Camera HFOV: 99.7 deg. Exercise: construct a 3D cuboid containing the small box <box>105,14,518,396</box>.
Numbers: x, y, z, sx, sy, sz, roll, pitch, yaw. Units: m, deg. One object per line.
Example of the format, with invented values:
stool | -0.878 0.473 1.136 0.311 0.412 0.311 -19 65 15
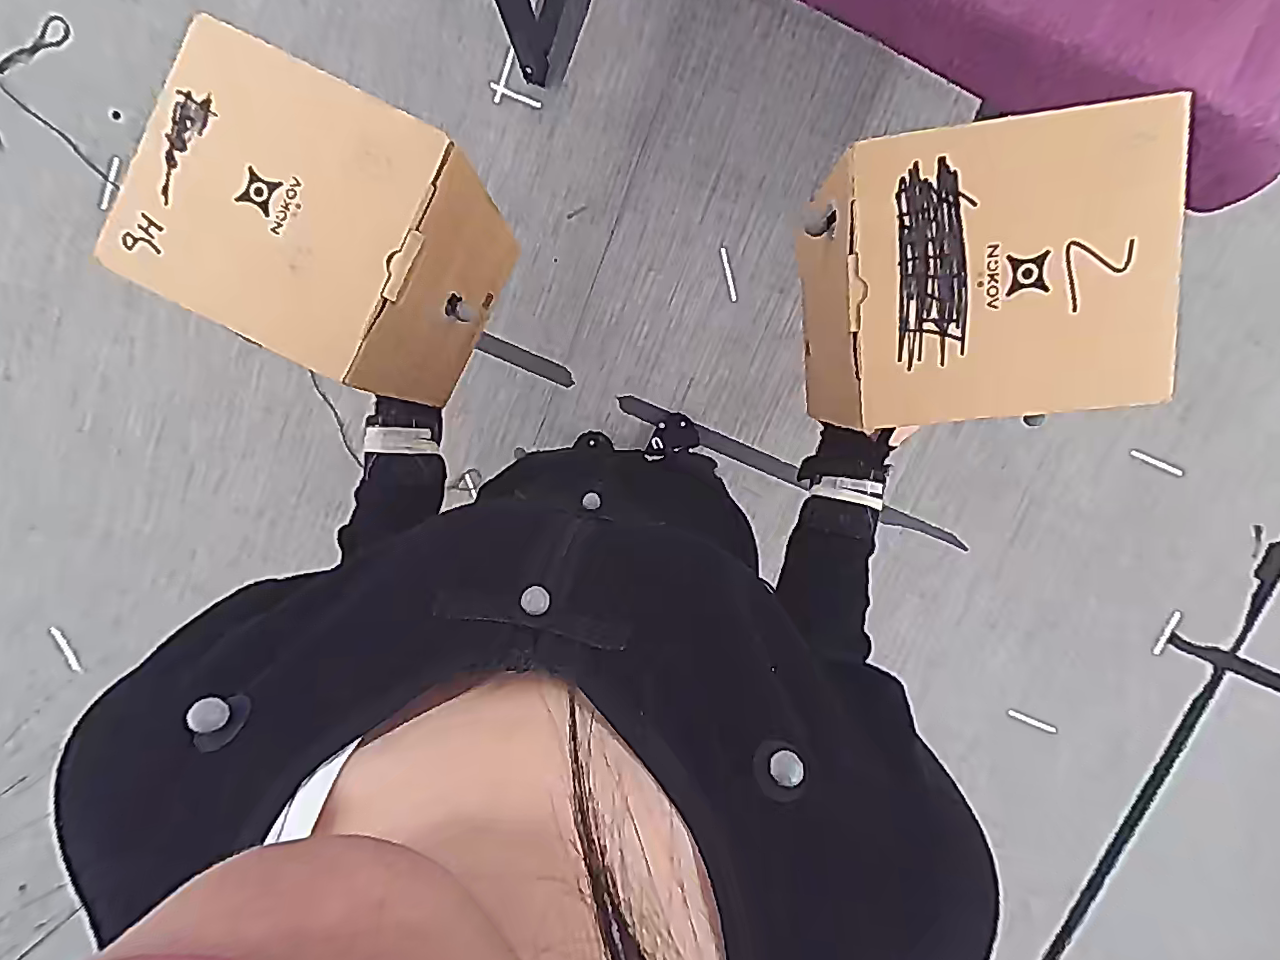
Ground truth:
small box | -0.214 -0.173 0.408 0.179 0.176 0.168 27 93 -1
